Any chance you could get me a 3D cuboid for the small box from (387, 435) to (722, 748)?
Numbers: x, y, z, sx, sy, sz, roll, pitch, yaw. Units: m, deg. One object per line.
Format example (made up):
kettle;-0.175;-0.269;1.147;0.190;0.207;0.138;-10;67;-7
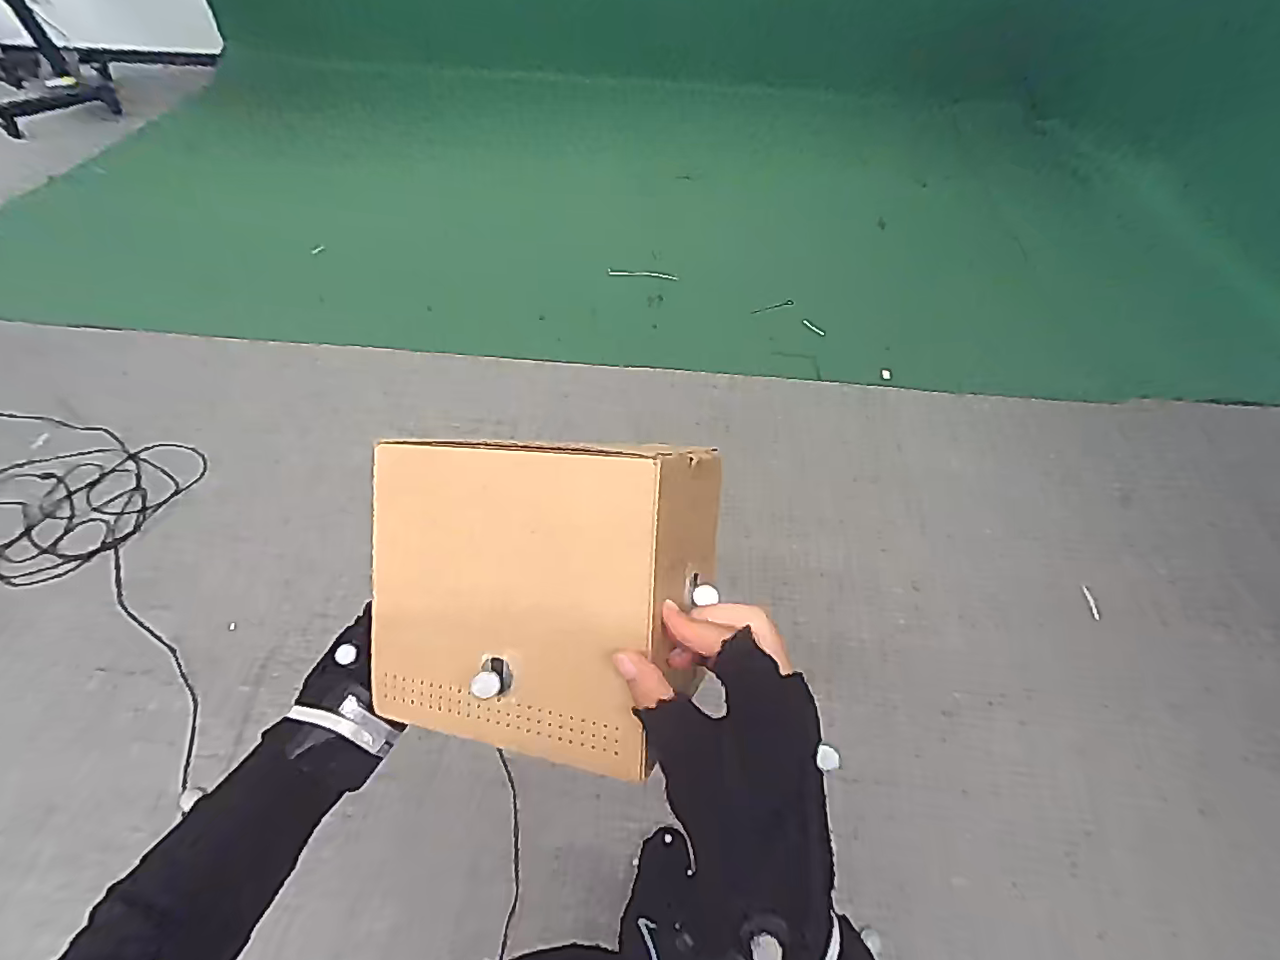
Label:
small box;-0.048;0.057;0.378;0.179;0.168;0.176;4;95;19
